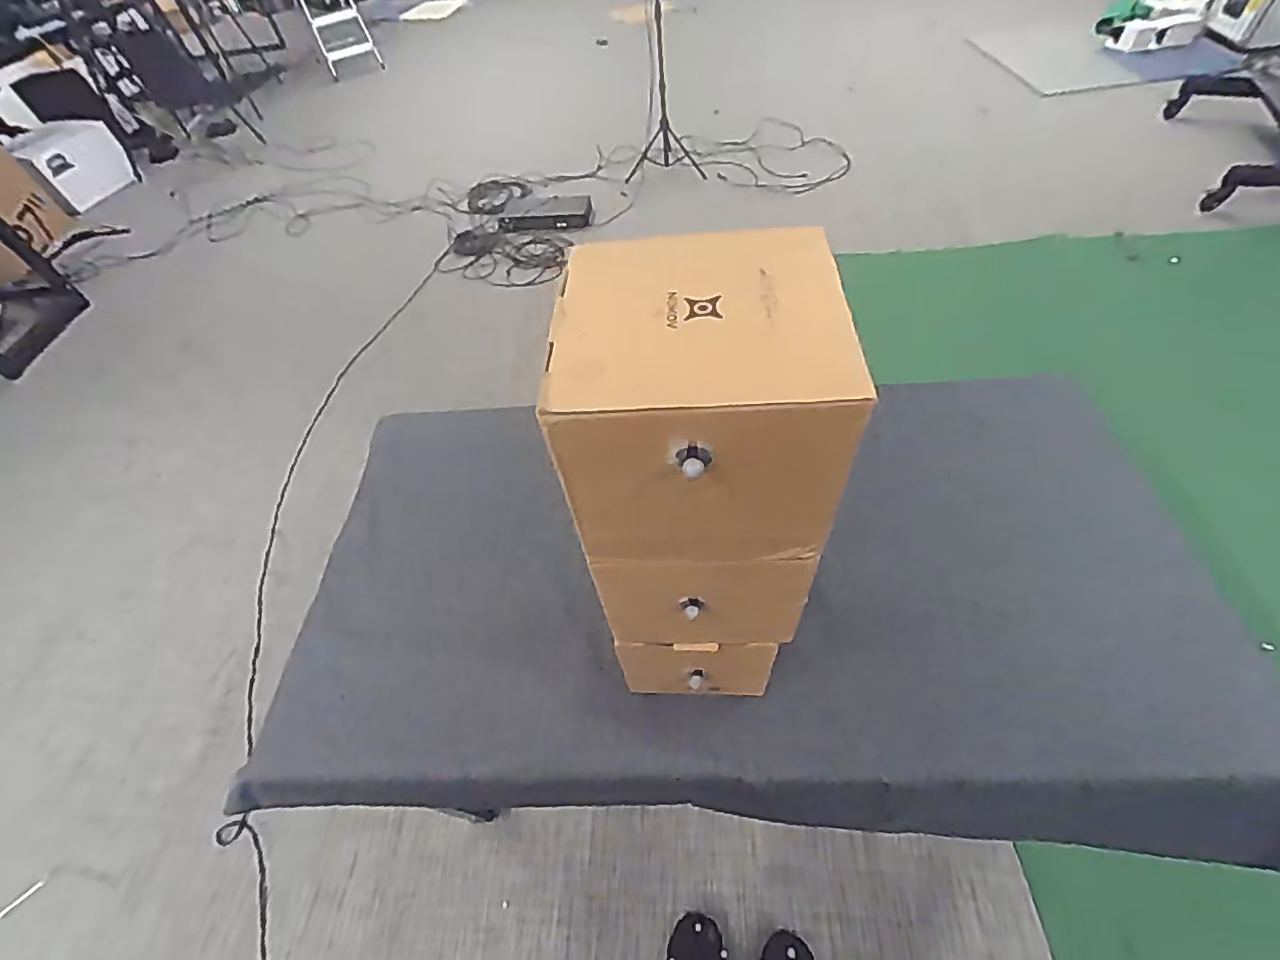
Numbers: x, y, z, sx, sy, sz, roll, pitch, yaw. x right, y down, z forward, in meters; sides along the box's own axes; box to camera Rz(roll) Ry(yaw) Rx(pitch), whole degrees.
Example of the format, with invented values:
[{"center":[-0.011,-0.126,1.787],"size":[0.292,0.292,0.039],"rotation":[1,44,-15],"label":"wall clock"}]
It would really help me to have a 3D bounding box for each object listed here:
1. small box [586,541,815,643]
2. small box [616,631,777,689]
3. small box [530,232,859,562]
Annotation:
[{"center":[0.056,0.048,0.518],"size":[0.179,0.176,0.168],"rotation":[-4,52,7],"label":"small box"},{"center":[0.070,0.145,0.651],"size":[0.168,0.176,0.179],"rotation":[-3,53,7],"label":"small box"},{"center":[0.037,-0.050,0.391],"size":[0.179,0.176,0.168],"rotation":[-3,53,5],"label":"small box"}]
